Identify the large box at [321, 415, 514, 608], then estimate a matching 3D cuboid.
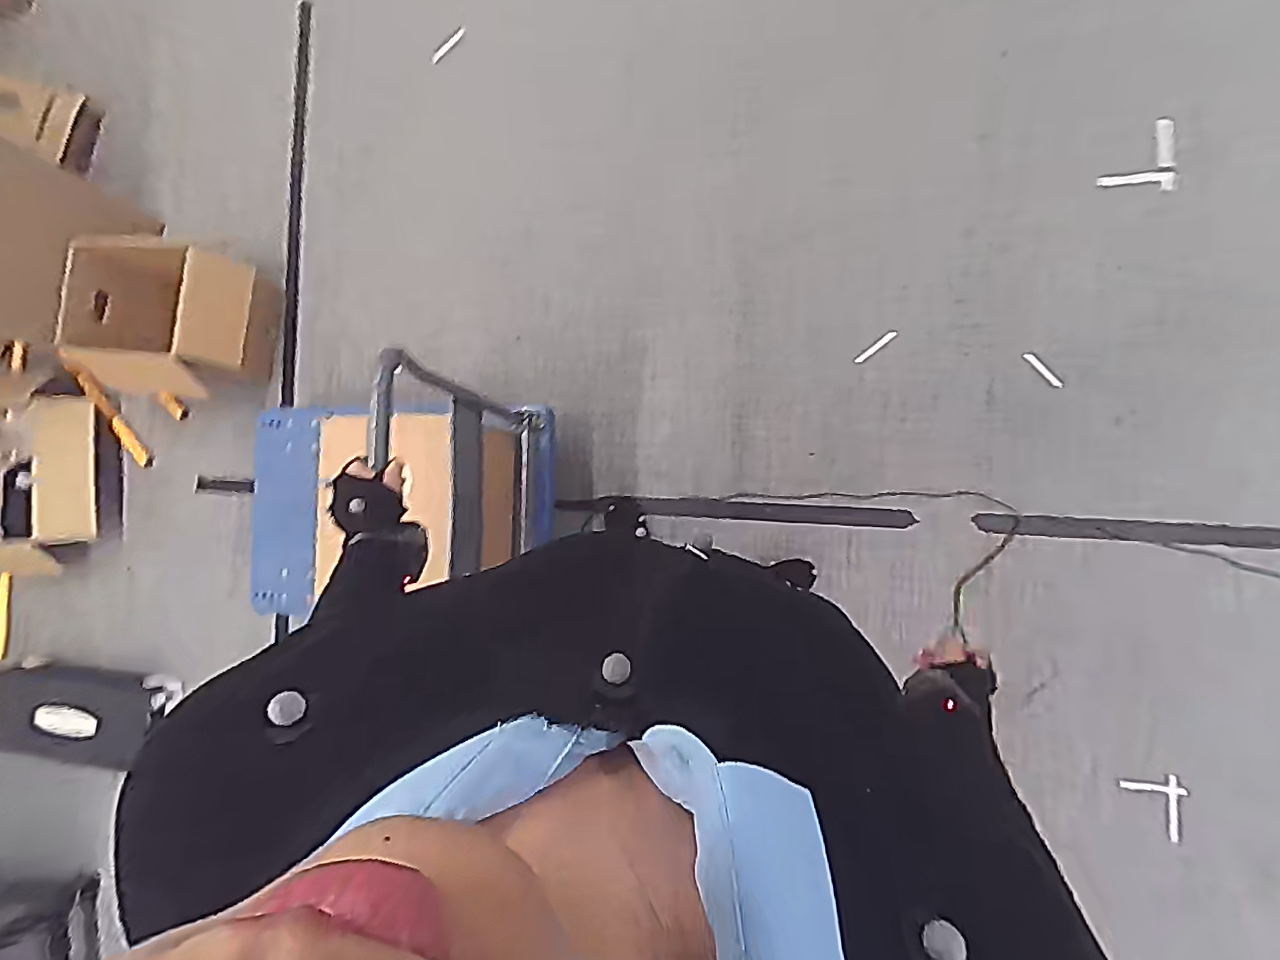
[{"bbox_3d":[-0.503,0.075,1.279,0.320,0.320,0.408,0,87,10],"label":"large box"}]
